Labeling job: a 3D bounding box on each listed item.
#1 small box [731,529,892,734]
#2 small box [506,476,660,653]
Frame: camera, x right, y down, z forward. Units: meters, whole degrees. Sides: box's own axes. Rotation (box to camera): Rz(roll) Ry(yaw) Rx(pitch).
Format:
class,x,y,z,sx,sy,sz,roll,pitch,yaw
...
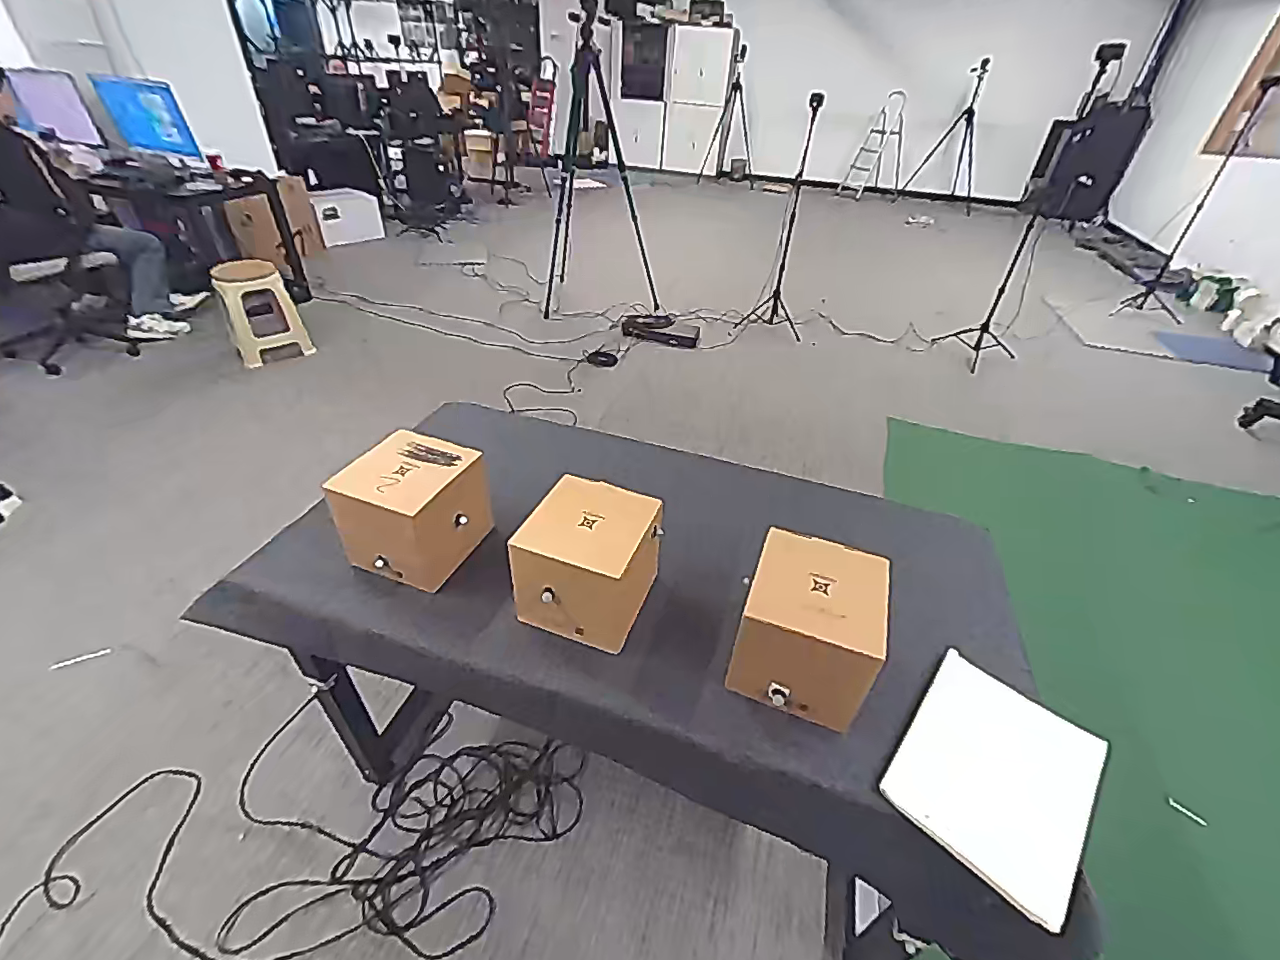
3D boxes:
class,x,y,z,sx,sy,sz,roll,pitch,yaw
small box,0.227,0.200,0.730,0.168,0.176,0.179,14,39,16
small box,-0.076,0.124,0.805,0.168,0.176,0.179,15,38,14
